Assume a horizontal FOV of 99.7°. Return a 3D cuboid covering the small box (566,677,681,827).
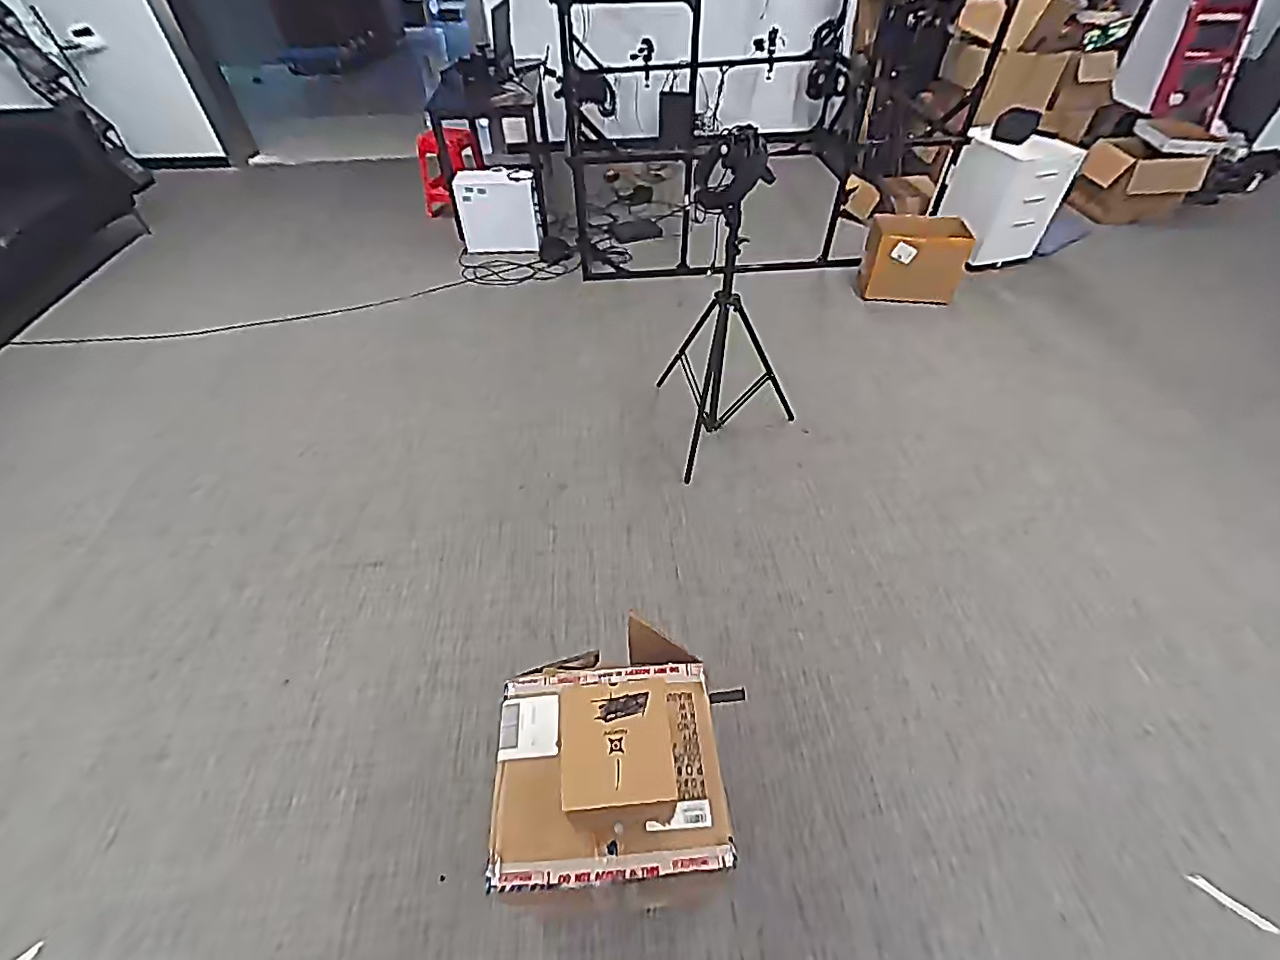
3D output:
[{"bbox_3d":[-0.029,0.438,0.870,0.168,0.176,0.179,-4,50,-3],"label":"small box"}]
